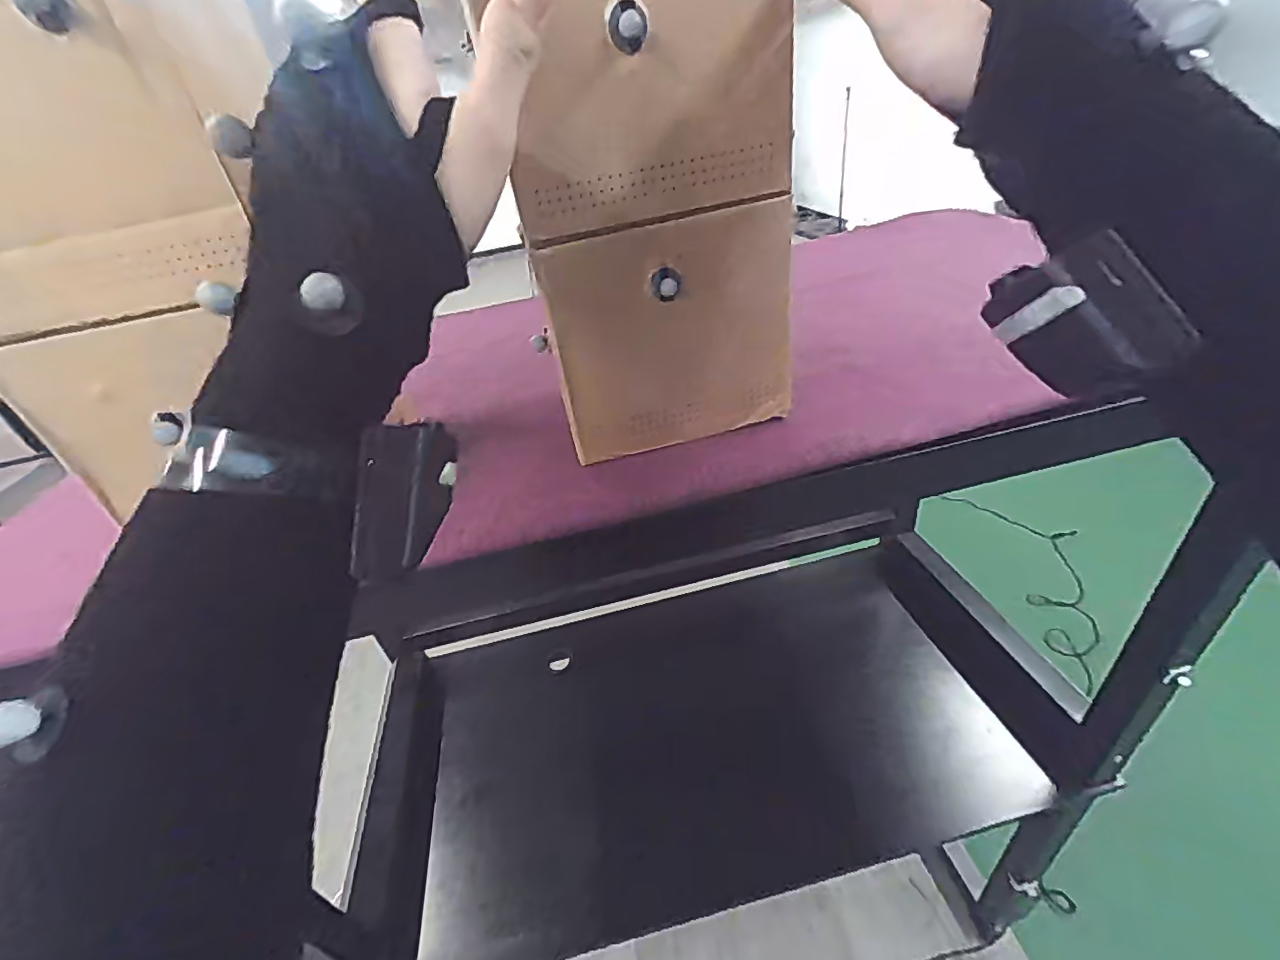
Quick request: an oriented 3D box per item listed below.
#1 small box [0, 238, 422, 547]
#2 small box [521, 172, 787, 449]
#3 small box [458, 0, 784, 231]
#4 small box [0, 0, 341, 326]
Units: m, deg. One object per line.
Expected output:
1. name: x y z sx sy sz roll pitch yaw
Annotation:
1. small box: -0.297 -0.071 0.422 0.179 0.176 0.168 -15 34 -5
2. small box: 0.010 -0.144 0.444 0.179 0.176 0.168 -14 34 -5
3. small box: -0.016 -0.277 0.353 0.179 0.176 0.168 -15 34 -4
4. small box: -0.324 -0.206 0.335 0.179 0.176 0.168 -14 33 -7
